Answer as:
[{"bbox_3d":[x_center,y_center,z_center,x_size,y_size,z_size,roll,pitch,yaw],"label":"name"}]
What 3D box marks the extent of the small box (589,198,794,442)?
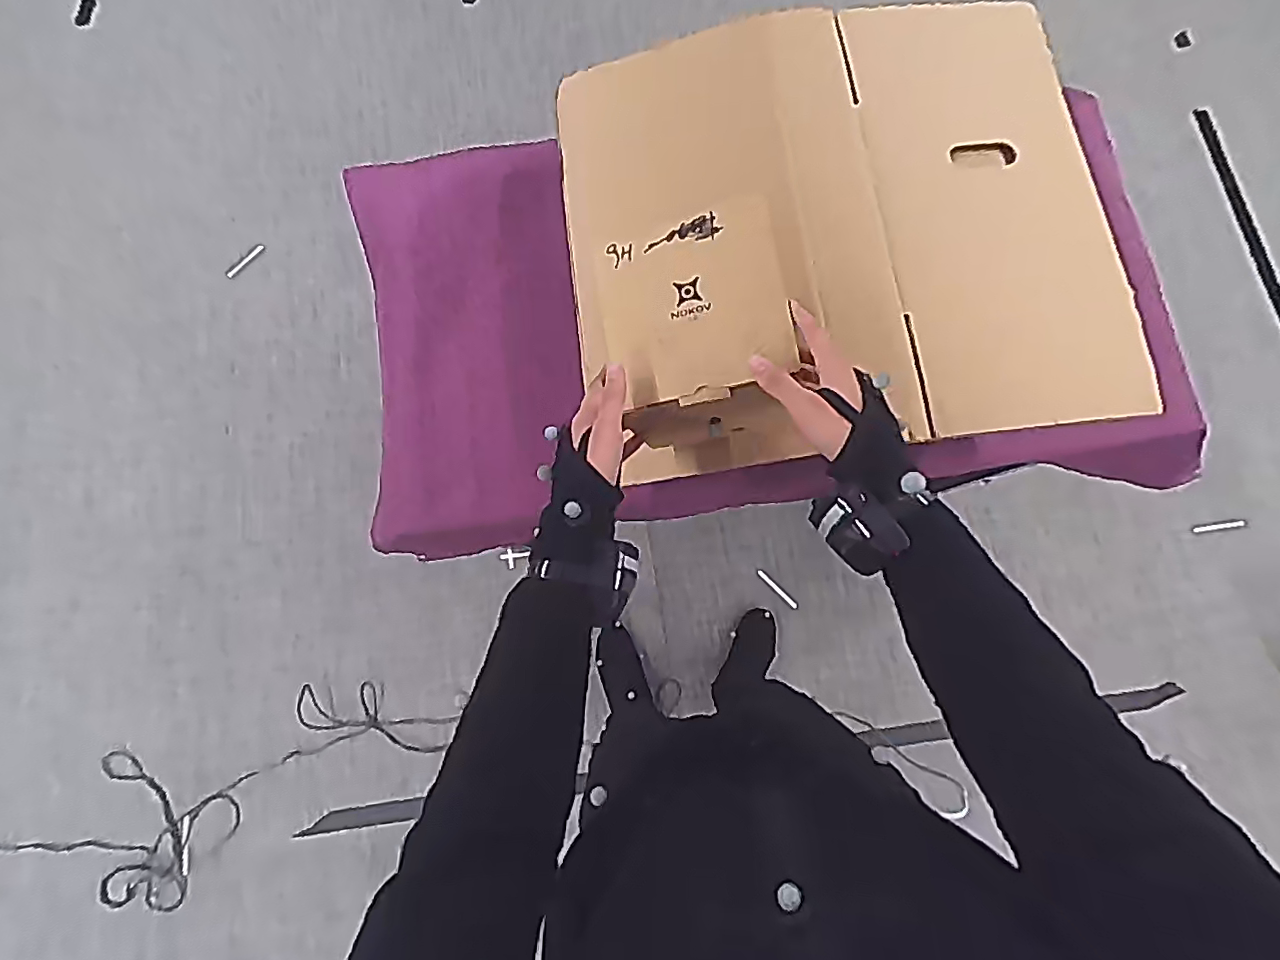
[{"bbox_3d":[0.060,-0.142,0.555,0.168,0.176,0.179,-10,81,12],"label":"small box"}]
